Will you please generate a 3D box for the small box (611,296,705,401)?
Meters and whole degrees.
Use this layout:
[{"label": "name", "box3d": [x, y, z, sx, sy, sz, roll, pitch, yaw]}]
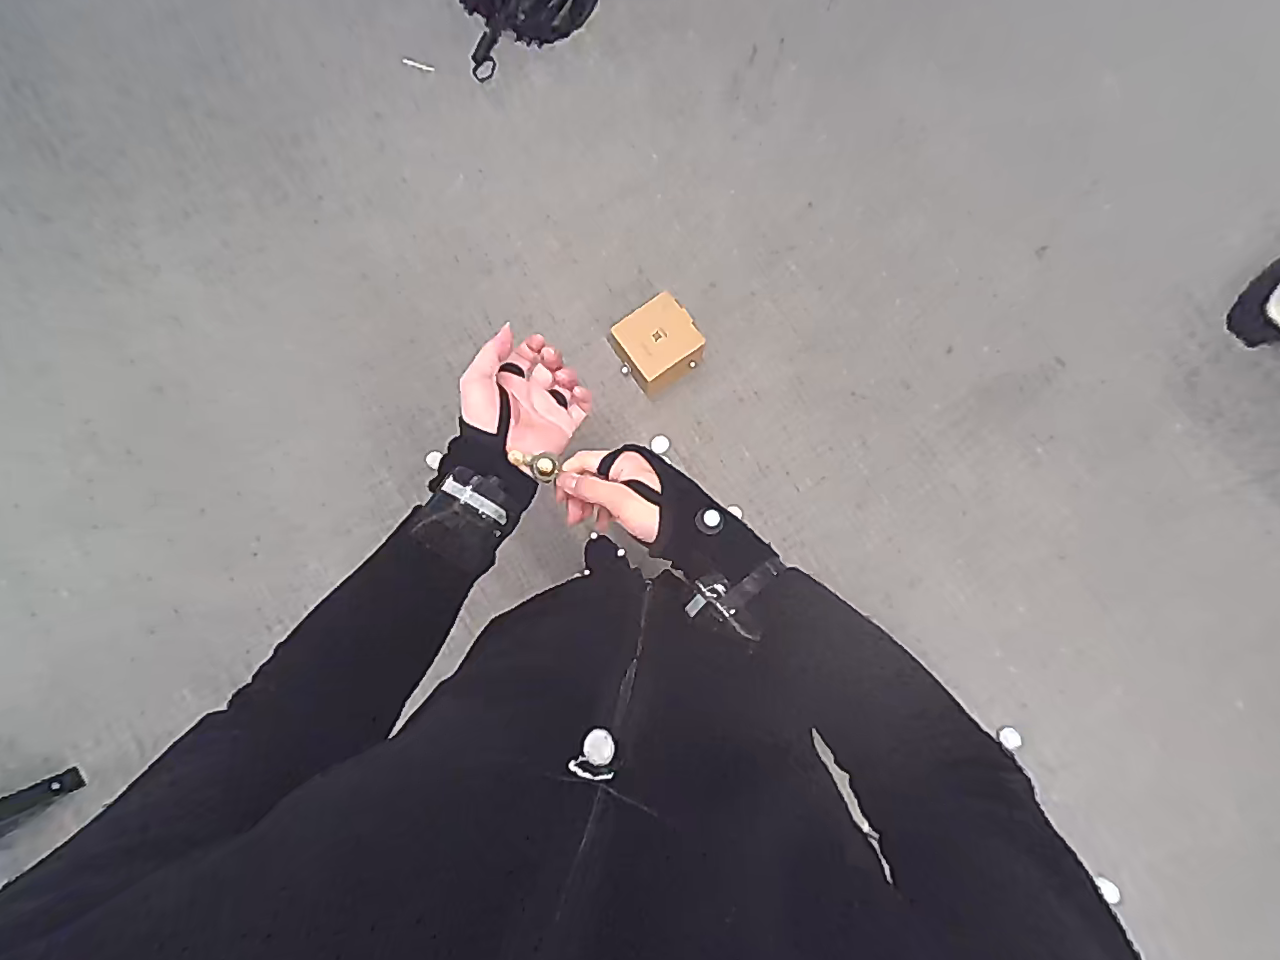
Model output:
[{"label": "small box", "box3d": [0.043, -0.329, 1.383, 0.179, 0.176, 0.168, -36, 84, -2]}]
